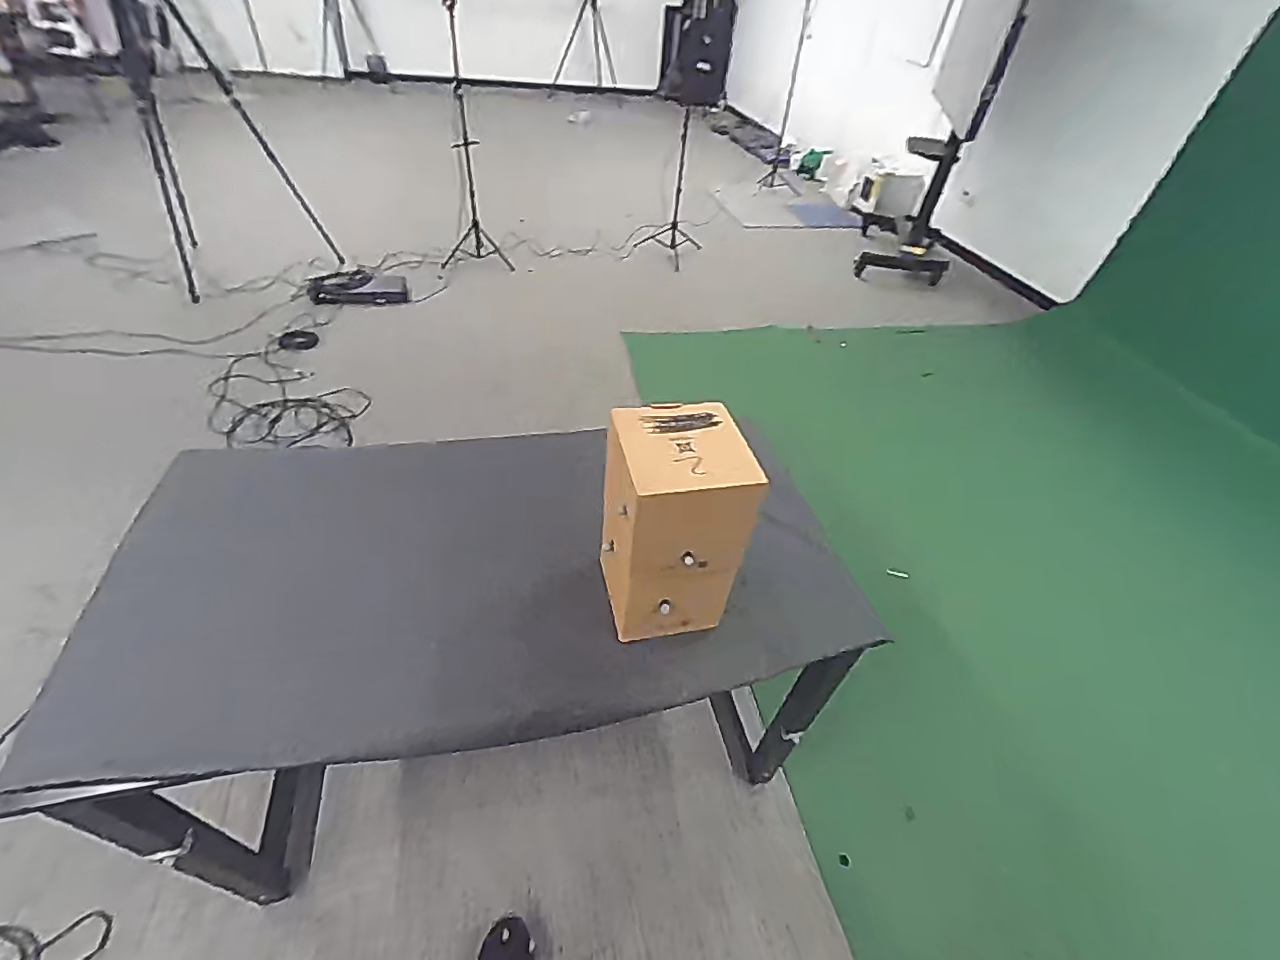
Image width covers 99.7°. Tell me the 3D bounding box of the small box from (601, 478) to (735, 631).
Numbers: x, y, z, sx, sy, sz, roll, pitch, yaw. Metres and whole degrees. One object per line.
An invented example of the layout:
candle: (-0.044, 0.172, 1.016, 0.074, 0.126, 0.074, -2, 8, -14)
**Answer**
small box: (0.034, 0.122, 0.856, 0.168, 0.176, 0.179, -6, 44, -13)
